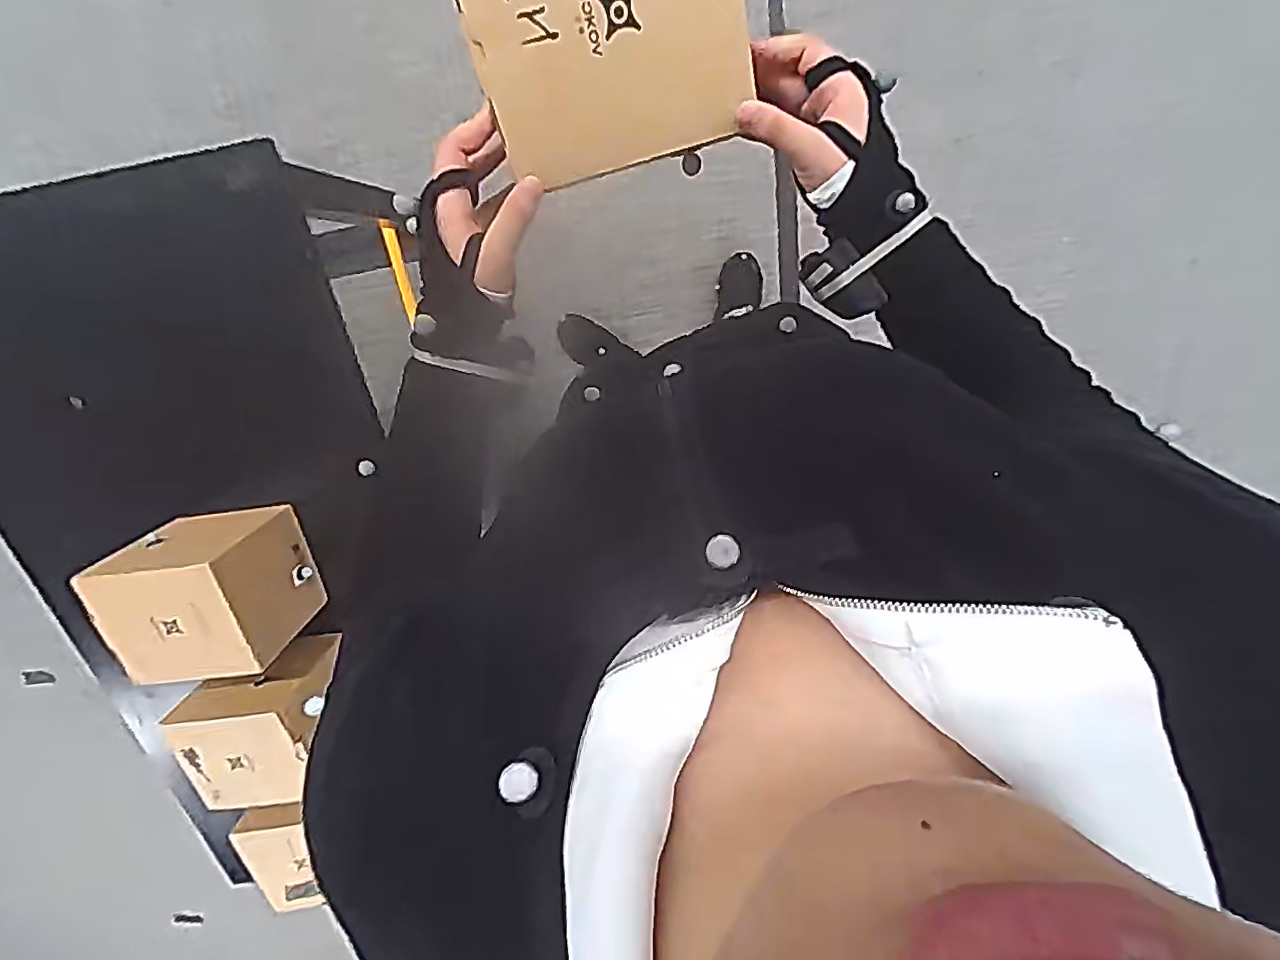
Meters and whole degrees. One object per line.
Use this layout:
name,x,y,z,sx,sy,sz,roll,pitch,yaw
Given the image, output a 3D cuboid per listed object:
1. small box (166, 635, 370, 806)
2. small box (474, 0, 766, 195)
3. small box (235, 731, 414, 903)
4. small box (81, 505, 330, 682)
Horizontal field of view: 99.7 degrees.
small box,-0.542,0.357,0.825,0.179,0.176,0.168,-8,112,3
small box,-0.019,-0.333,0.416,0.179,0.176,0.168,-14,119,4
small box,-0.506,0.555,0.902,0.168,0.176,0.179,-11,110,4
small box,-0.575,0.148,0.745,0.179,0.176,0.168,-8,113,3
